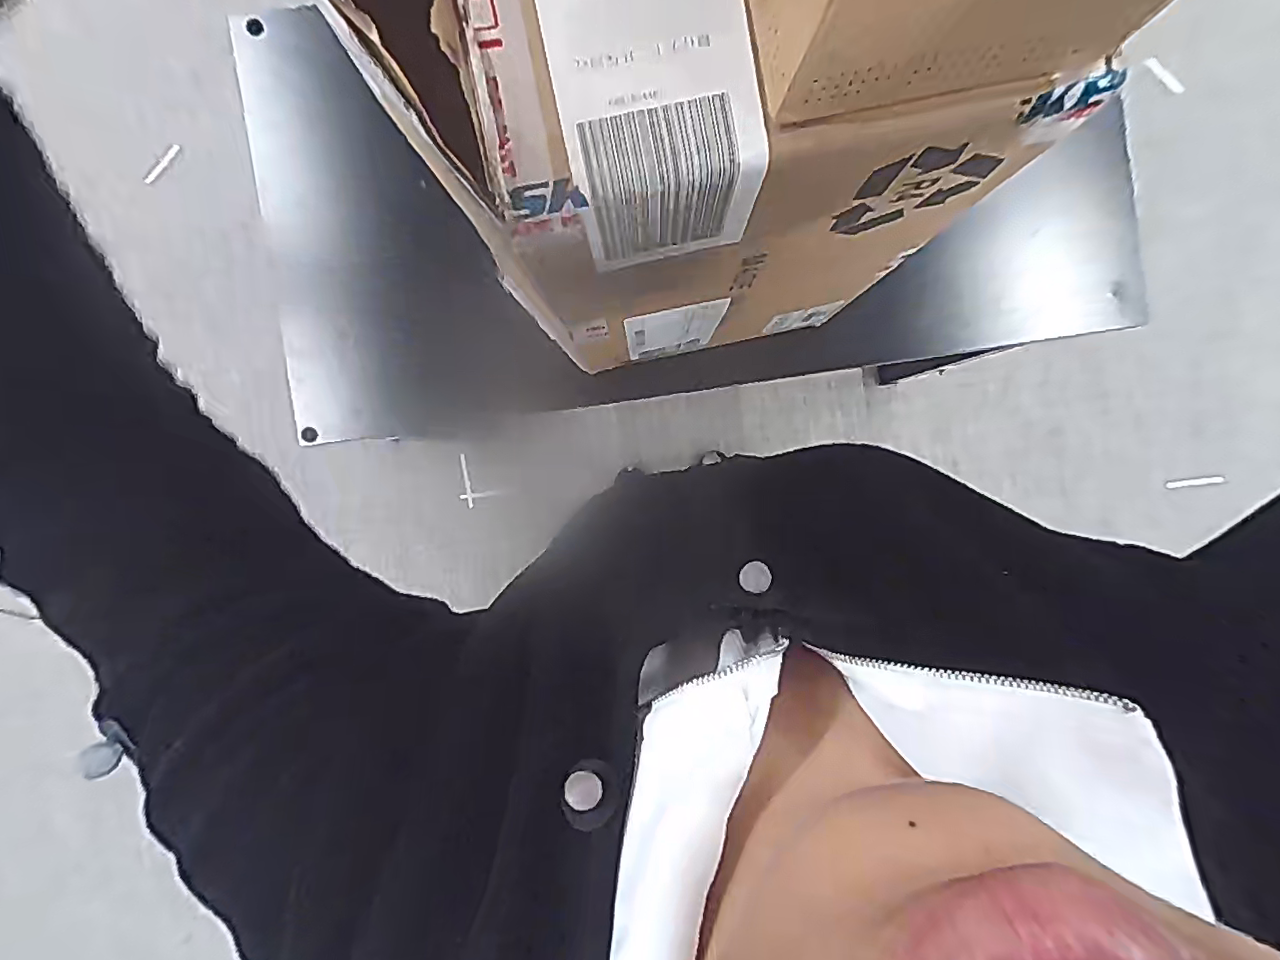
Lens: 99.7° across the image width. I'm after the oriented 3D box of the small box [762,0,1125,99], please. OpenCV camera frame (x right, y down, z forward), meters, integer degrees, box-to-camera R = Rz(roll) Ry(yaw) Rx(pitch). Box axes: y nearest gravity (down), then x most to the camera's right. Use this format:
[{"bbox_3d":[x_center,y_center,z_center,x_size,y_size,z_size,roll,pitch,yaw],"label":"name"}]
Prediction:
[{"bbox_3d":[0.137,-0.280,0.195,0.179,0.176,0.168,-11,94,0],"label":"small box"}]
